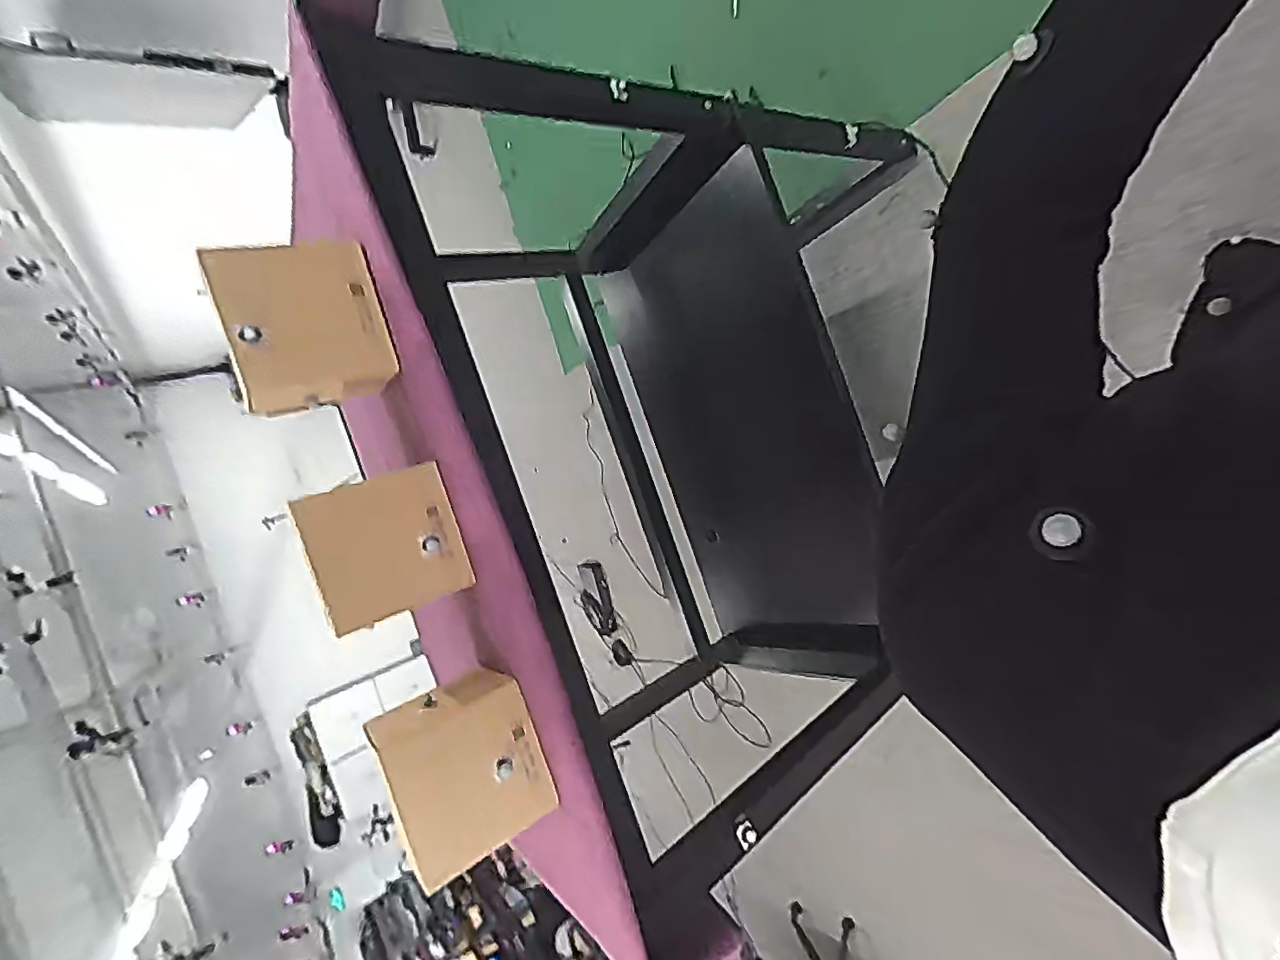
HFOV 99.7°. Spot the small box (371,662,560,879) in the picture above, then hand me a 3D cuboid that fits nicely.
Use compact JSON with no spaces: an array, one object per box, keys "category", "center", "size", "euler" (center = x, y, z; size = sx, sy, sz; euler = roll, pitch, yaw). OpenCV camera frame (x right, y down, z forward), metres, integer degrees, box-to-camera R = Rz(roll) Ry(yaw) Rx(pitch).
[{"category":"small box","center":[-0.227,0.351,0.699],"size":[0.179,0.176,0.168],"euler":[-21,89,56]}]

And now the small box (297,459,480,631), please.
[{"category":"small box","center":[-0.333,0.081,0.717],"size":[0.179,0.176,0.168],"euler":[-15,95,56]}]

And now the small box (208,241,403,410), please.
[{"category":"small box","center":[-0.429,-0.198,0.711],"size":[0.179,0.176,0.168],"euler":[-4,104,57]}]
